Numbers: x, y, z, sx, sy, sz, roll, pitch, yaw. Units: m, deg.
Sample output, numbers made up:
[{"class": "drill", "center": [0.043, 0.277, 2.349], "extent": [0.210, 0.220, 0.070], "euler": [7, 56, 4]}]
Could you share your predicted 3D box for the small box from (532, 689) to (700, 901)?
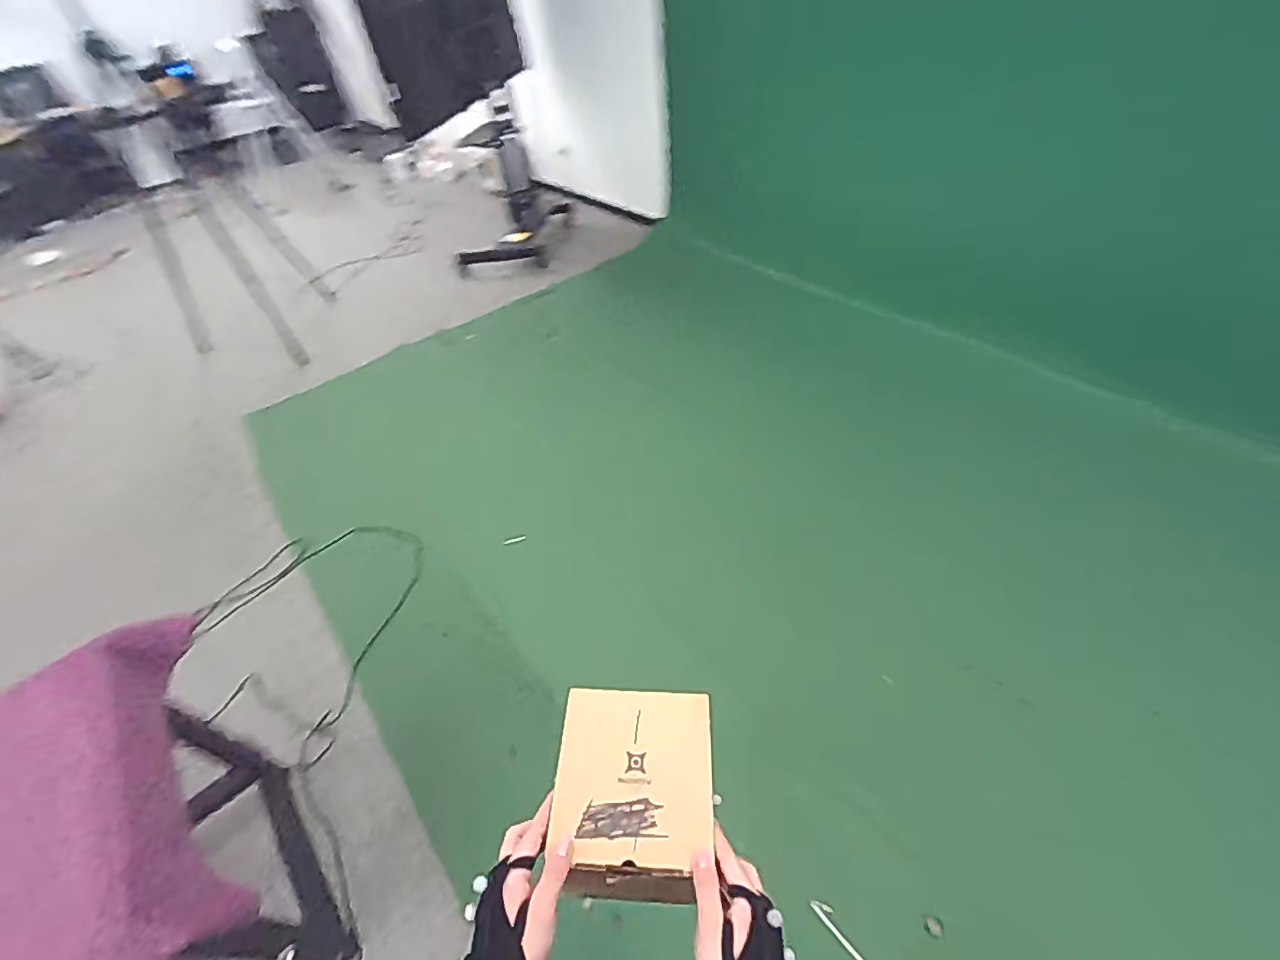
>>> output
[{"class": "small box", "center": [-0.018, 0.366, 0.627], "extent": [0.168, 0.176, 0.179], "euler": [1, 43, 2]}]
